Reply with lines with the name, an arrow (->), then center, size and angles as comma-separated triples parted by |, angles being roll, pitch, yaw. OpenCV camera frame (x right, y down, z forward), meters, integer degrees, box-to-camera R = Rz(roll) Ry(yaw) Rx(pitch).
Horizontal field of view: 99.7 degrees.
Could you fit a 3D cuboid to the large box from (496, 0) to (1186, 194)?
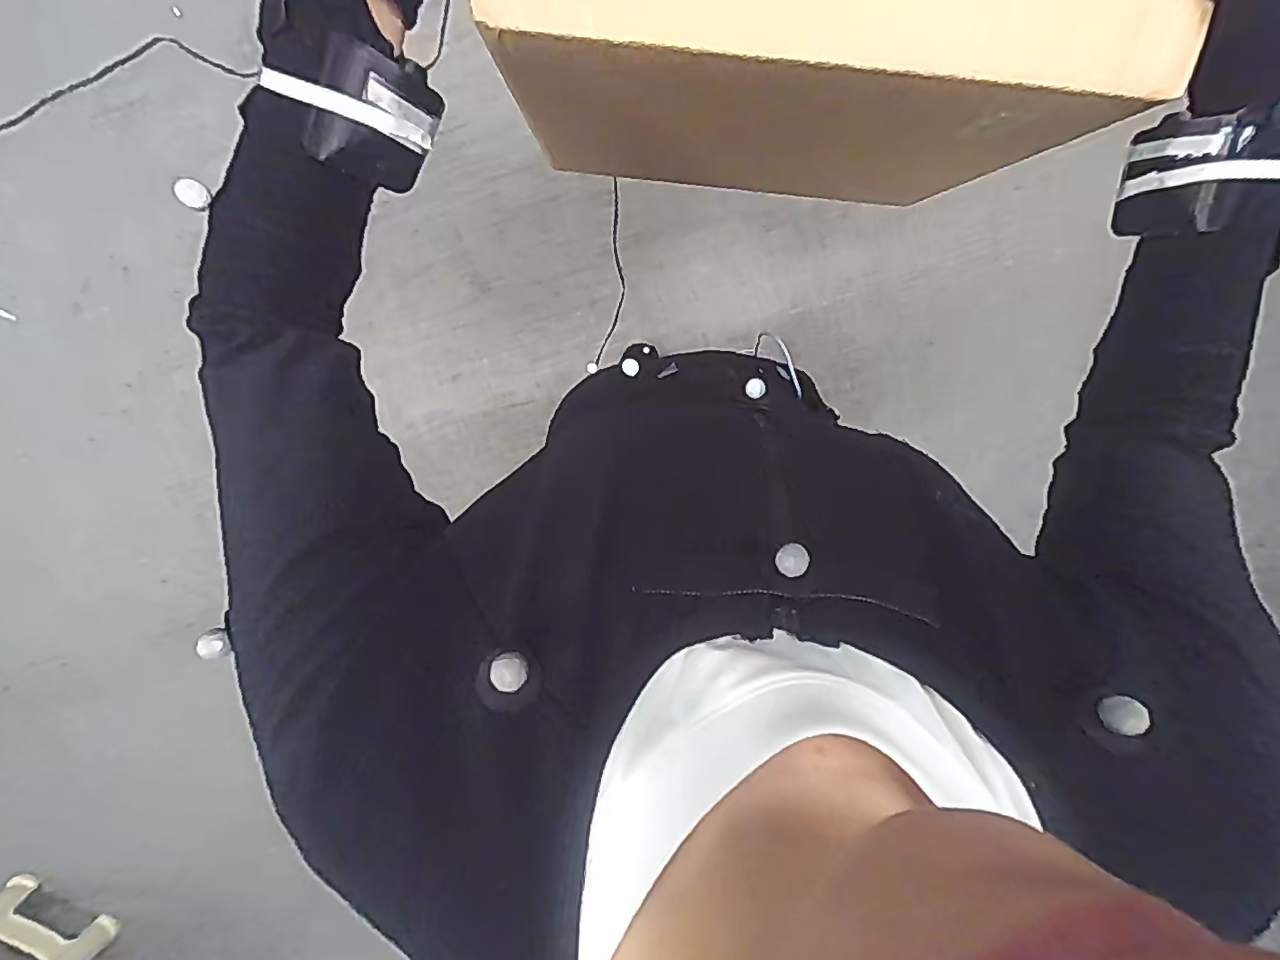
large box -> 0.117, -0.433, 0.414 | 0.408, 0.320, 0.320 | 3, 107, -3
